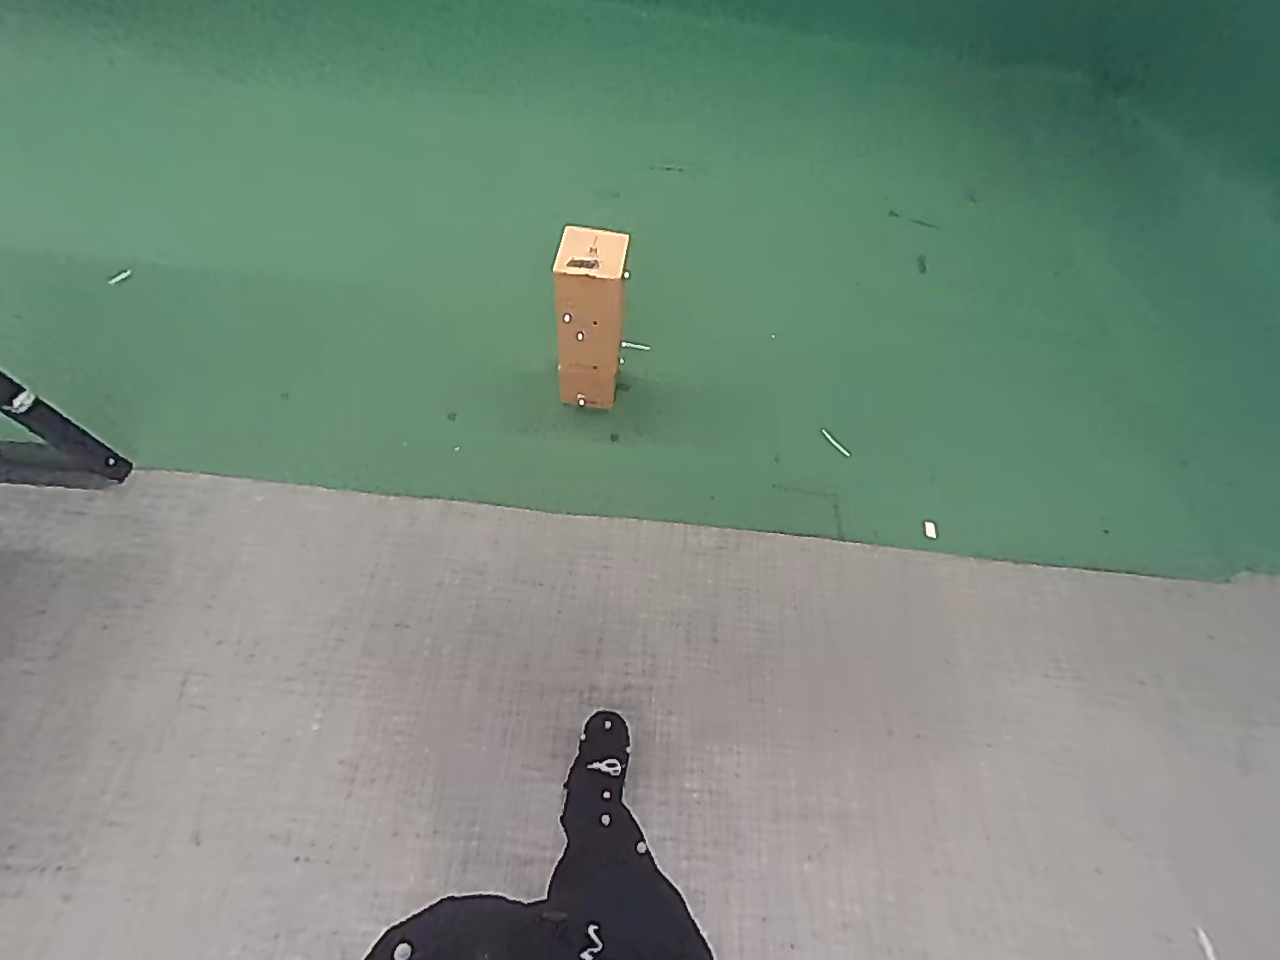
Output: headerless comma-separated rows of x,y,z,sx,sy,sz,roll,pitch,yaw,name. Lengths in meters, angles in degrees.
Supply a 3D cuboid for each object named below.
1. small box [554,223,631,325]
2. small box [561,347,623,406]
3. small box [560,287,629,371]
-0.119,-0.527,1.398,0.168,0.176,0.179,8,59,-1,small box
-0.146,-0.357,1.678,0.168,0.176,0.179,7,62,0,small box
-0.129,-0.440,1.538,0.168,0.176,0.179,8,60,0,small box
